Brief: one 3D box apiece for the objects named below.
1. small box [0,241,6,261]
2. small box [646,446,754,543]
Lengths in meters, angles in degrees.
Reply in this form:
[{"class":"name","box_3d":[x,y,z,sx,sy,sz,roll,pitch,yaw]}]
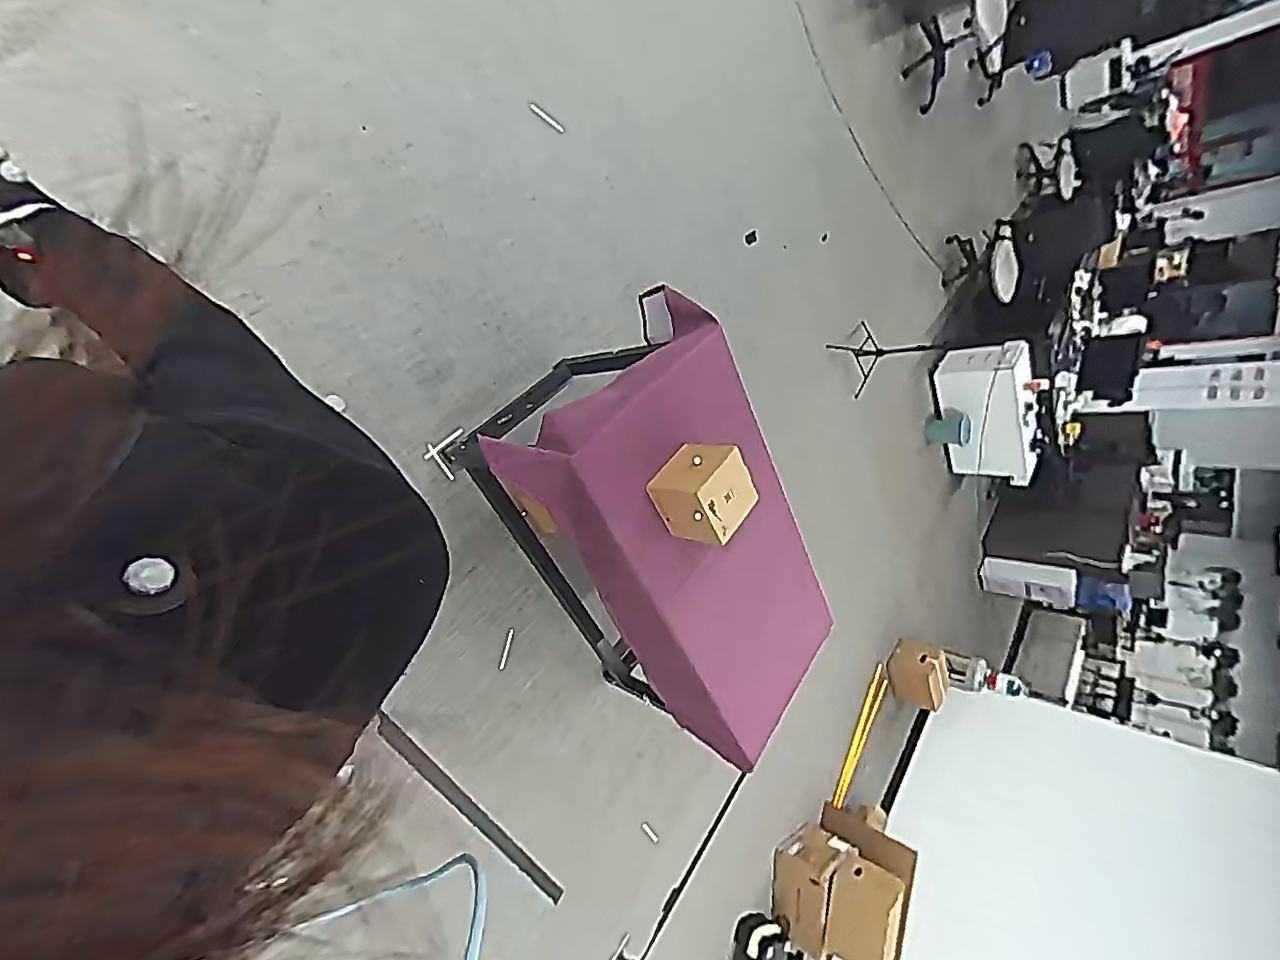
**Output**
[{"class":"small box","box_3d":[-0.756,-0.278,0.492,0.168,0.176,0.179,-37,123,-32]},{"class":"small box","box_3d":[0.145,0.027,1.323,0.179,0.176,0.168,-48,123,-30]}]
